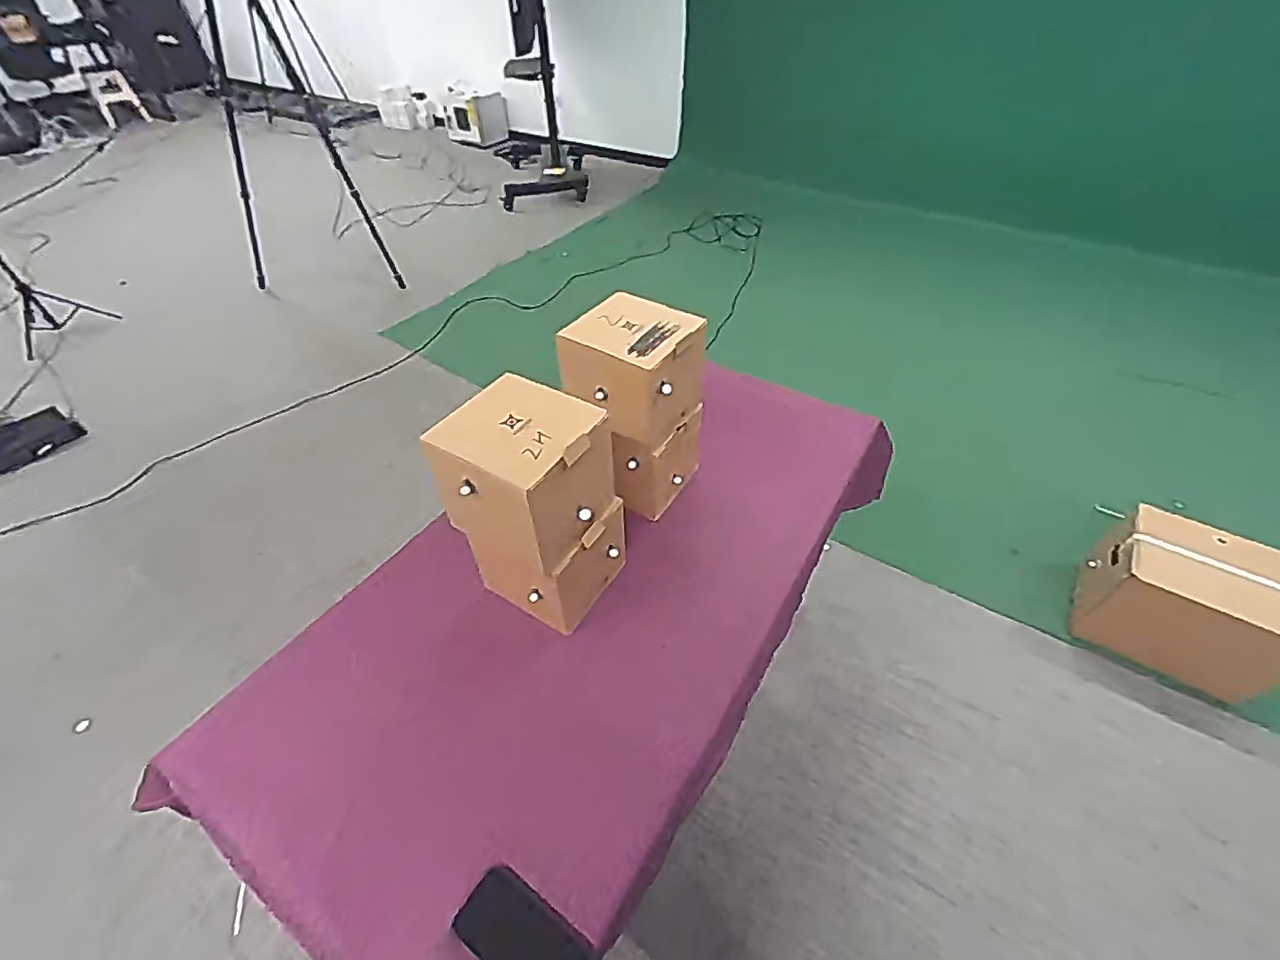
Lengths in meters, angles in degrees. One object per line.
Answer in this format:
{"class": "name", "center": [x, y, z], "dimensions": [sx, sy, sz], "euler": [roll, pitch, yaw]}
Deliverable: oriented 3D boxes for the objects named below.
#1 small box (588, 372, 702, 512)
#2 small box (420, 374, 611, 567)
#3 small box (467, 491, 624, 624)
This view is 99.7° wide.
{"class": "small box", "center": [-0.004, -0.068, 1.007], "dimensions": [0.179, 0.176, 0.168], "euler": [24, 52, 22]}
{"class": "small box", "center": [-0.155, -0.012, 0.730], "dimensions": [0.179, 0.176, 0.168], "euler": [23, 51, 22]}
{"class": "small box", "center": [-0.138, 0.100, 0.852], "dimensions": [0.179, 0.176, 0.168], "euler": [23, 51, 23]}
